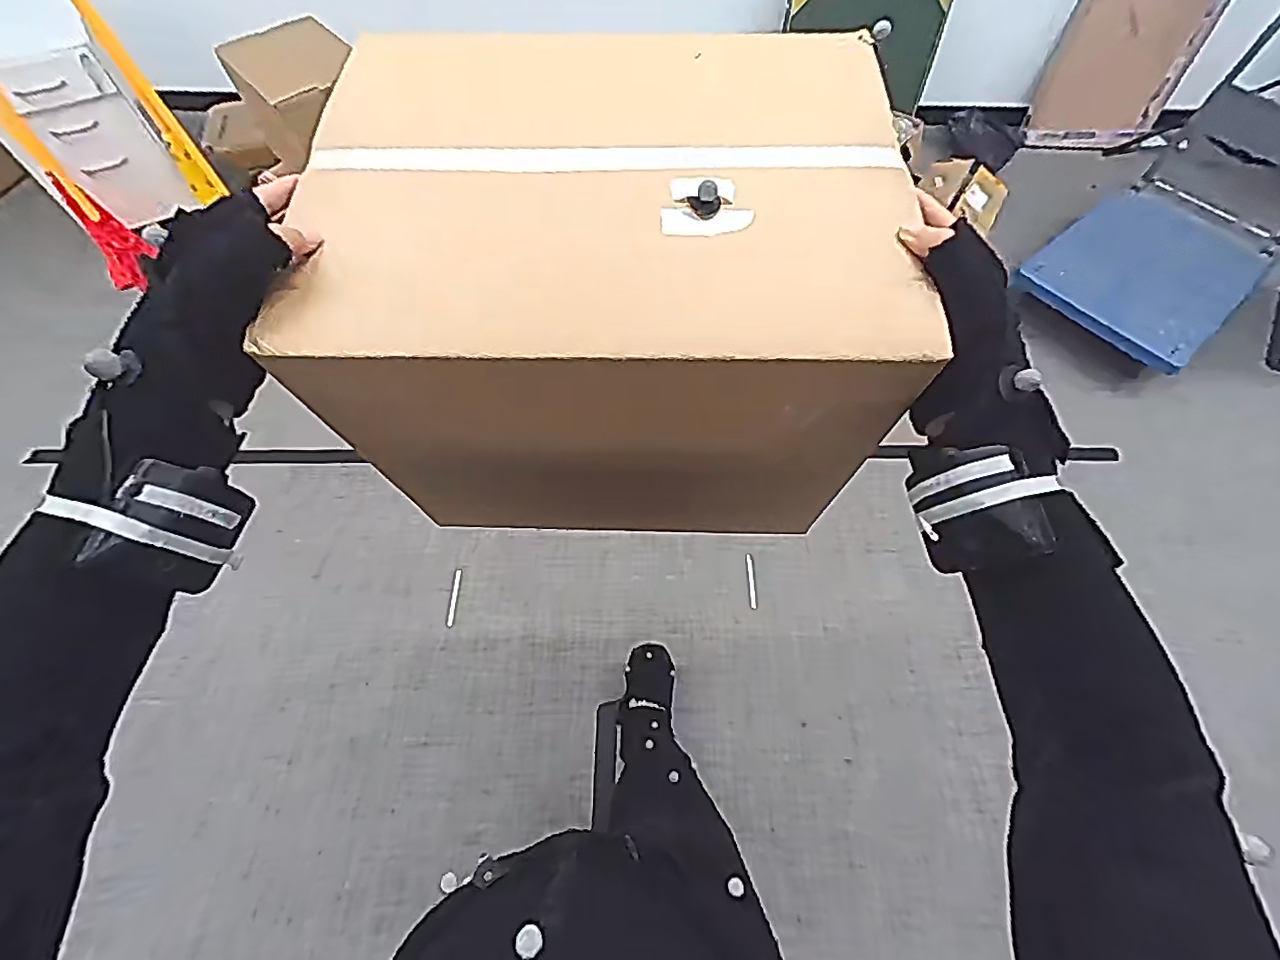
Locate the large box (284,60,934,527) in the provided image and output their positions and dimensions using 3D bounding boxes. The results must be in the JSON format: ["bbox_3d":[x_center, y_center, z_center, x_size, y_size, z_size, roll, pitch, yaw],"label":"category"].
[{"bbox_3d":[-0.019,-0.148,0.521,0.408,0.320,0.320,1,67,0],"label":"large box"}]
